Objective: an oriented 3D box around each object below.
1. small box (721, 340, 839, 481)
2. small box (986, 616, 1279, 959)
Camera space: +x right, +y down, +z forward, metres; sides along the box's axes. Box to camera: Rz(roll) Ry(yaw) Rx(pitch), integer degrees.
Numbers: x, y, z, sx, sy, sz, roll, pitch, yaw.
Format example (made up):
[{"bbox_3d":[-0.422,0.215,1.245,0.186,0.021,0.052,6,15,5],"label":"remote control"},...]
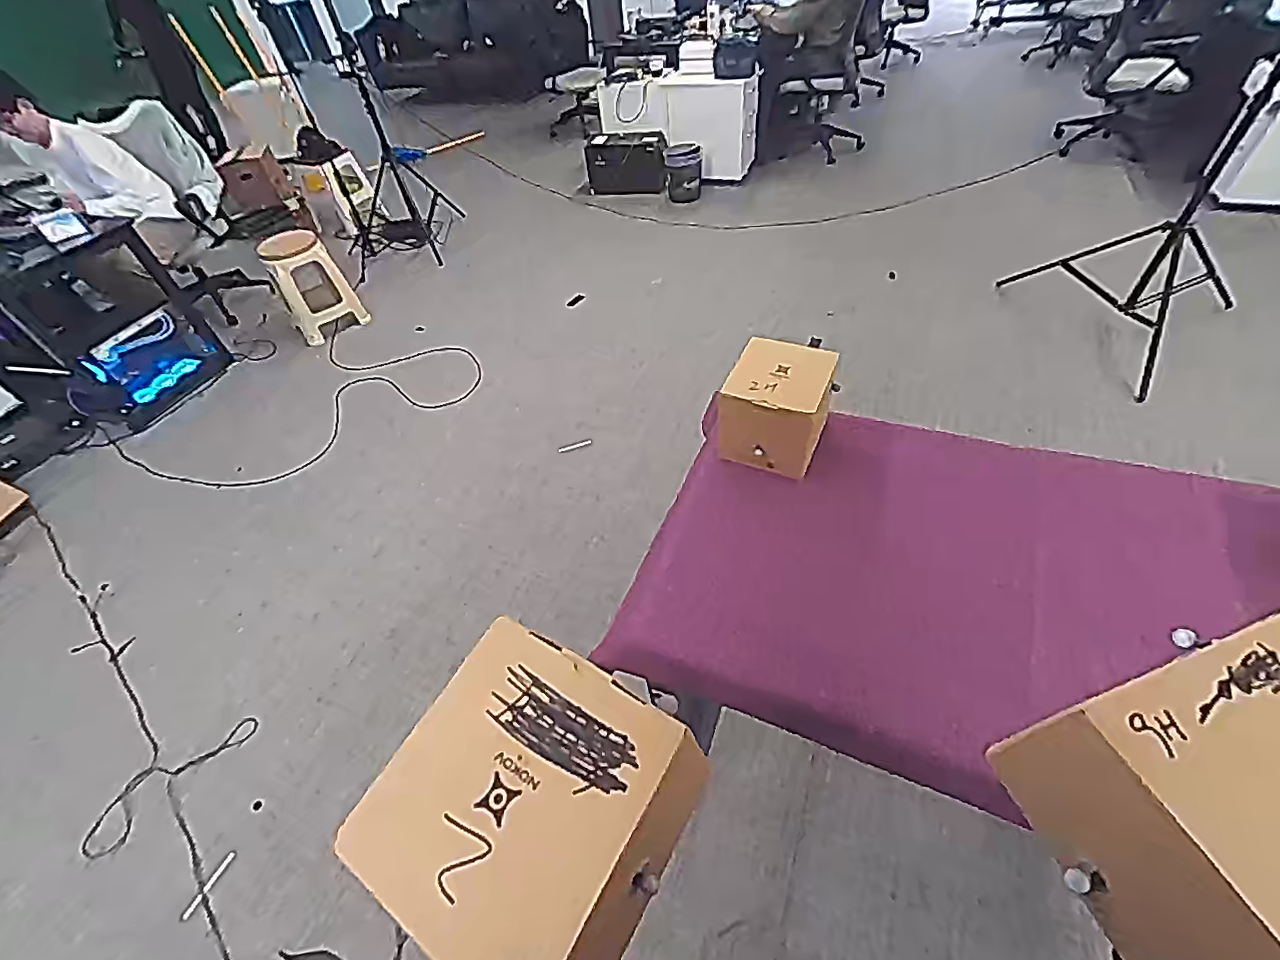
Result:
[{"bbox_3d":[0.255,-0.130,1.011,0.168,0.176,0.179,18,55,21],"label":"small box"},{"bbox_3d":[0.373,0.216,0.342,0.168,0.176,0.179,-21,54,-5],"label":"small box"}]
